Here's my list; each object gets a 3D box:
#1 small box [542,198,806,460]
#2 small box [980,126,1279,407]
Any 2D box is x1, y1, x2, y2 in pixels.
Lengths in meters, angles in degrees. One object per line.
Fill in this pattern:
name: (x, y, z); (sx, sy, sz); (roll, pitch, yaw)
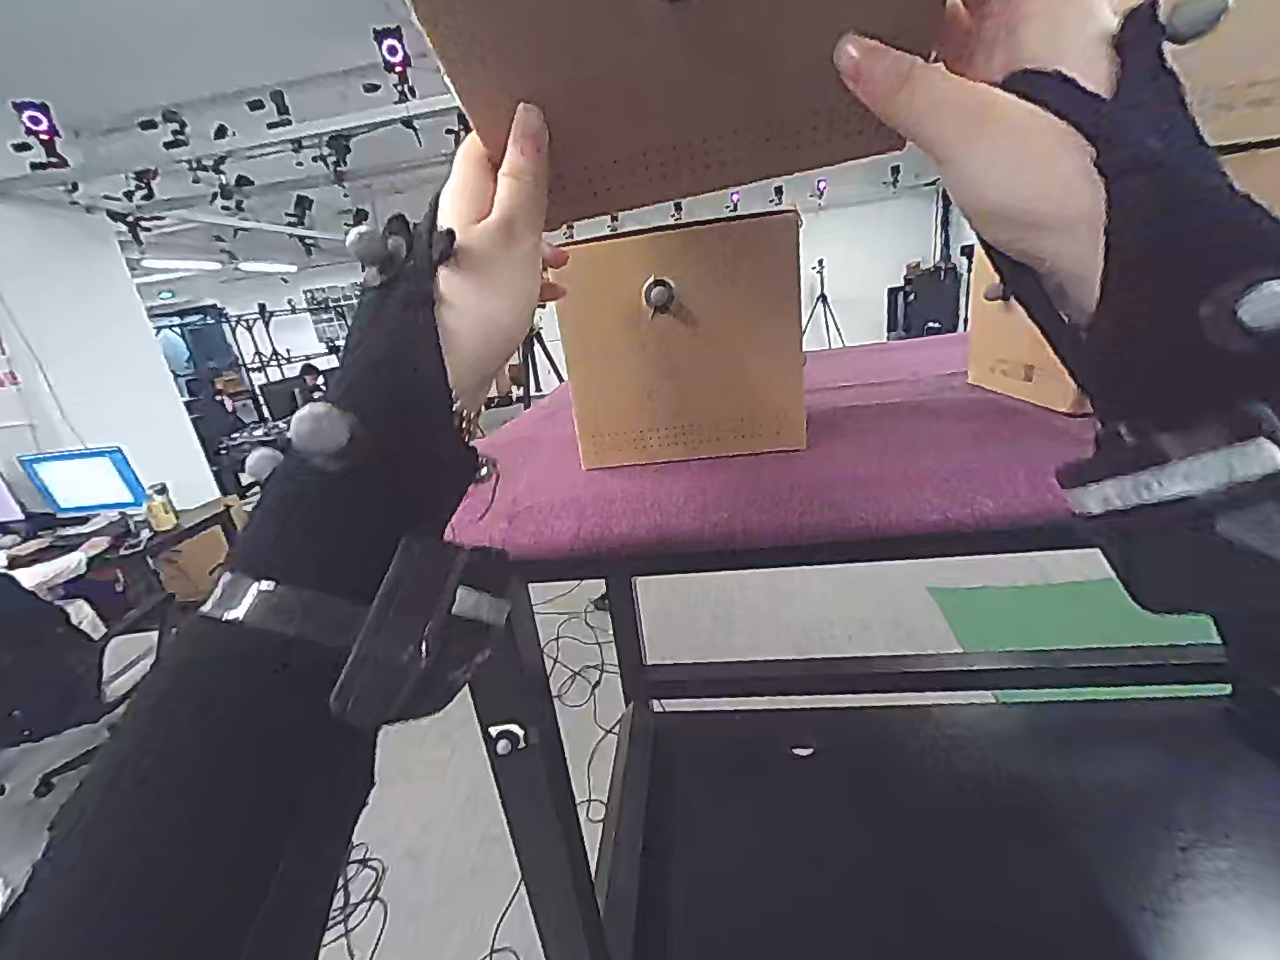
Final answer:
small box: (0.036, -0.121, 0.455); (0.179, 0.176, 0.168); (-5, 20, 7)
small box: (0.396, -0.157, 0.425); (0.179, 0.176, 0.168); (-5, 18, 8)
